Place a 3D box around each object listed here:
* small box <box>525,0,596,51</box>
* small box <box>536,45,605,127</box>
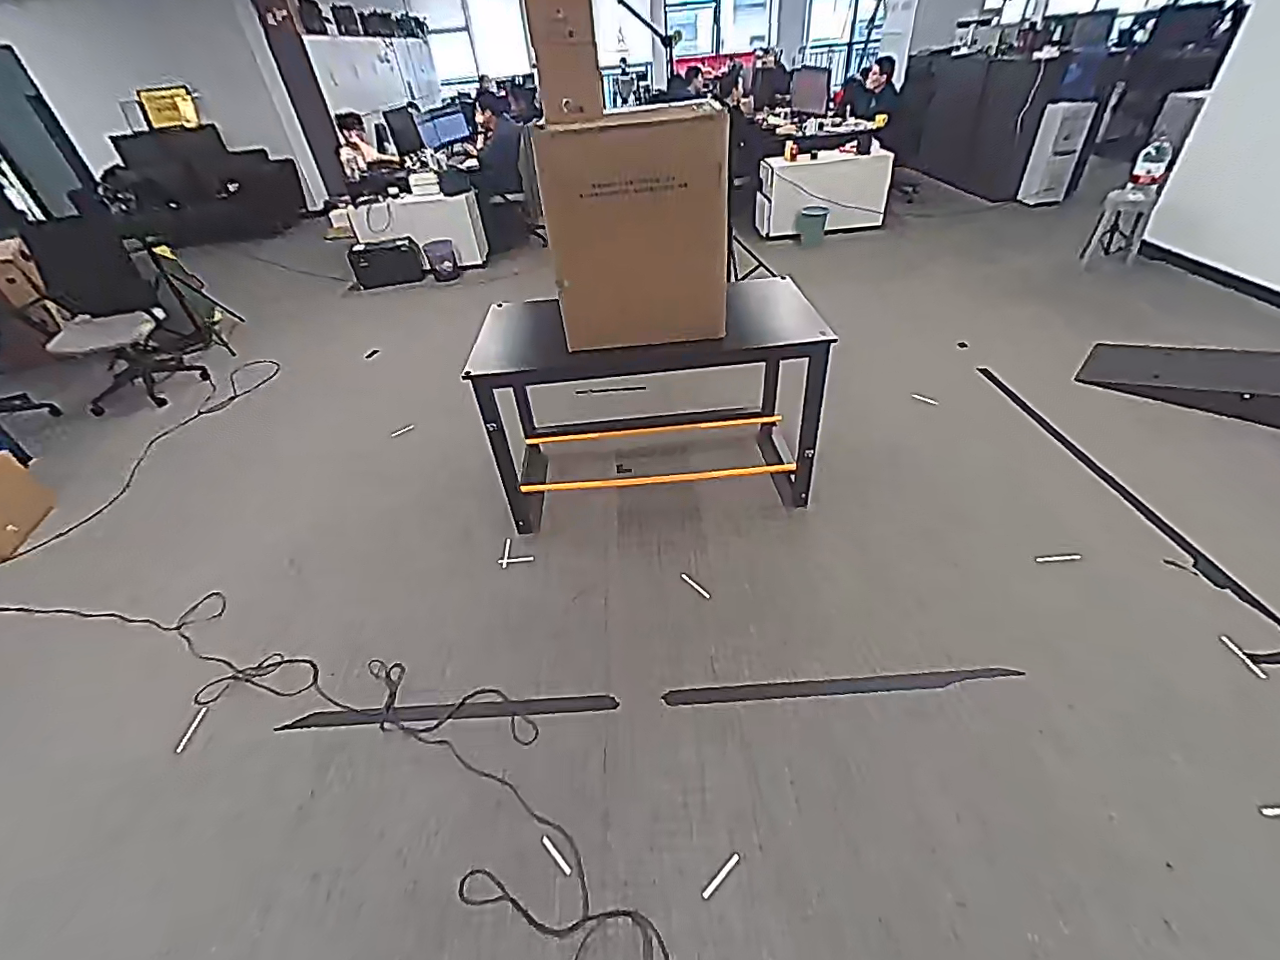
[{"bbox_3d":[-0.206,-1.216,1.390,0.168,0.176,0.179,-7,40,-1],"label":"small box"},{"bbox_3d":[-0.192,-1.091,1.497,0.168,0.176,0.179,-9,41,-3],"label":"small box"}]
